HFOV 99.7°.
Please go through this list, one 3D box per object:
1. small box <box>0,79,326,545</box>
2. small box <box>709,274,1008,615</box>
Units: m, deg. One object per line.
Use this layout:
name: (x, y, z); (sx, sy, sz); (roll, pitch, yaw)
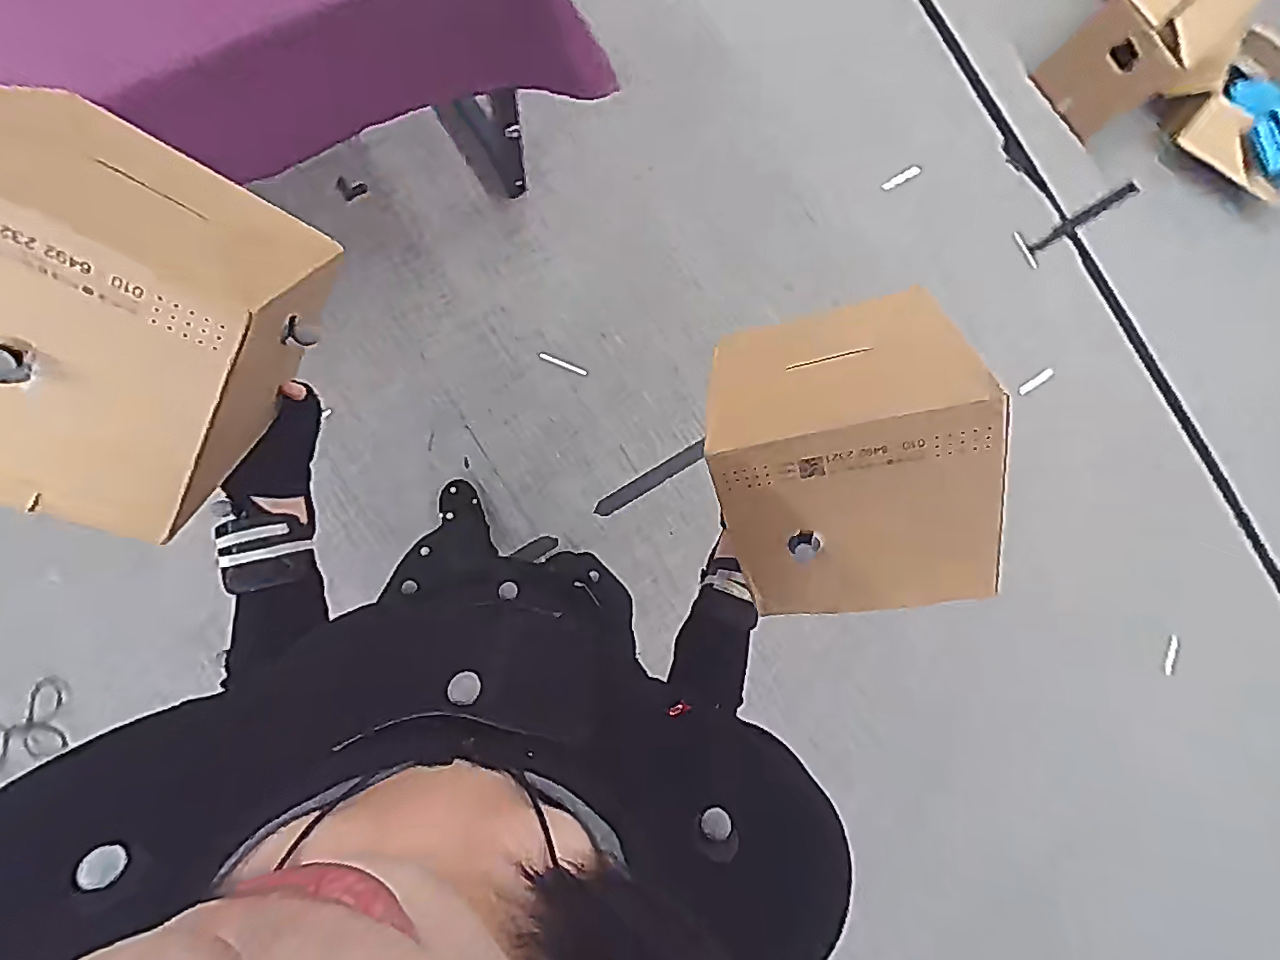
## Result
small box: (-0.315, -0.099, 0.312); (0.168, 0.179, 0.176); (26, 113, -26)
small box: (0.151, -0.027, 0.403); (0.168, 0.179, 0.176); (-10, 126, 18)
